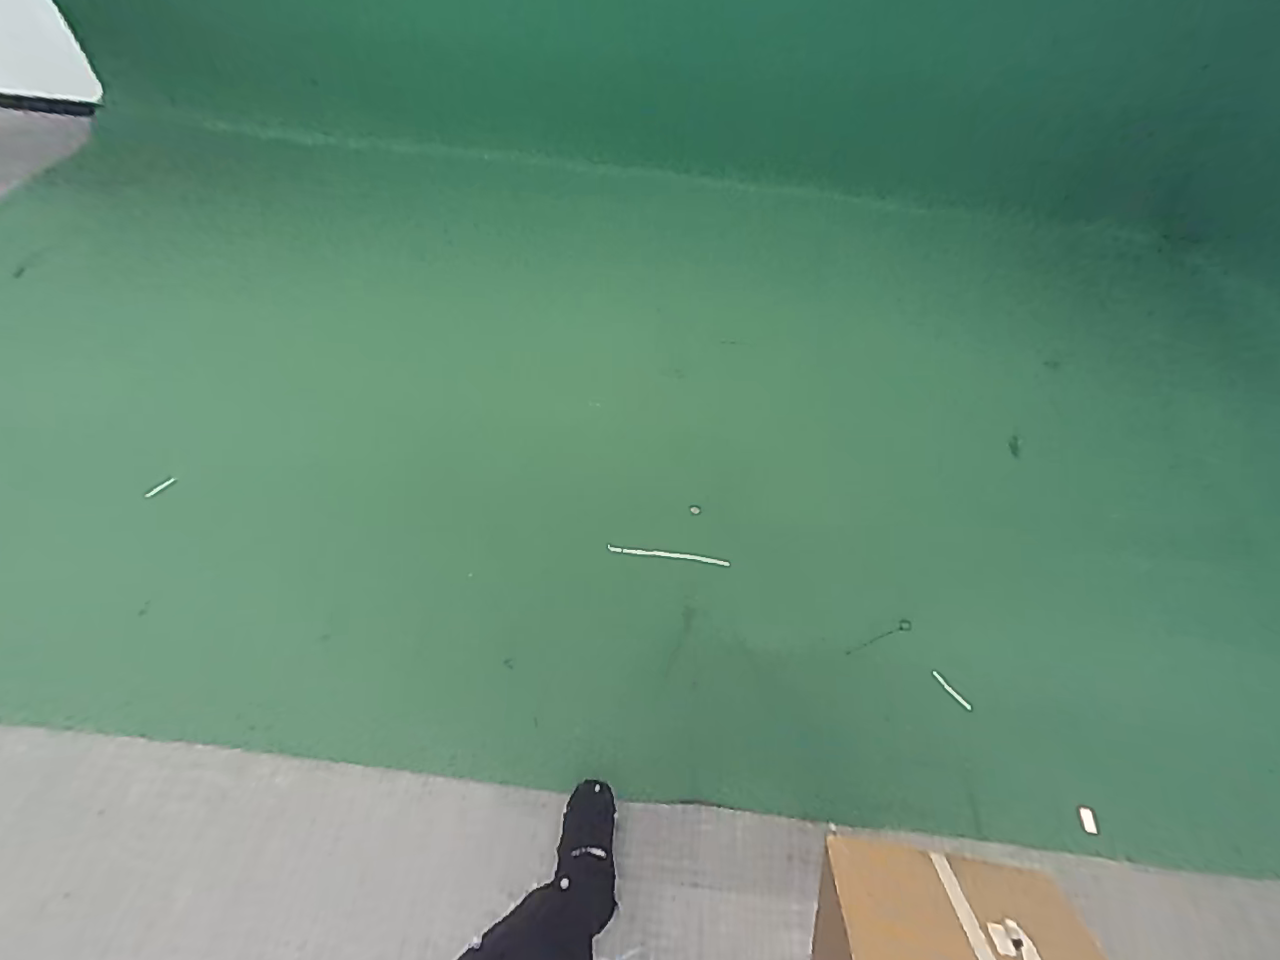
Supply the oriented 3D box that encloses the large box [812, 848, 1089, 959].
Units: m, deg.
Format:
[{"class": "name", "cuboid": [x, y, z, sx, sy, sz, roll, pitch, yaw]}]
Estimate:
[{"class": "large box", "cuboid": [0.388, 0.743, 0.626, 0.320, 0.408, 0.320, 7, 95, 10]}]
